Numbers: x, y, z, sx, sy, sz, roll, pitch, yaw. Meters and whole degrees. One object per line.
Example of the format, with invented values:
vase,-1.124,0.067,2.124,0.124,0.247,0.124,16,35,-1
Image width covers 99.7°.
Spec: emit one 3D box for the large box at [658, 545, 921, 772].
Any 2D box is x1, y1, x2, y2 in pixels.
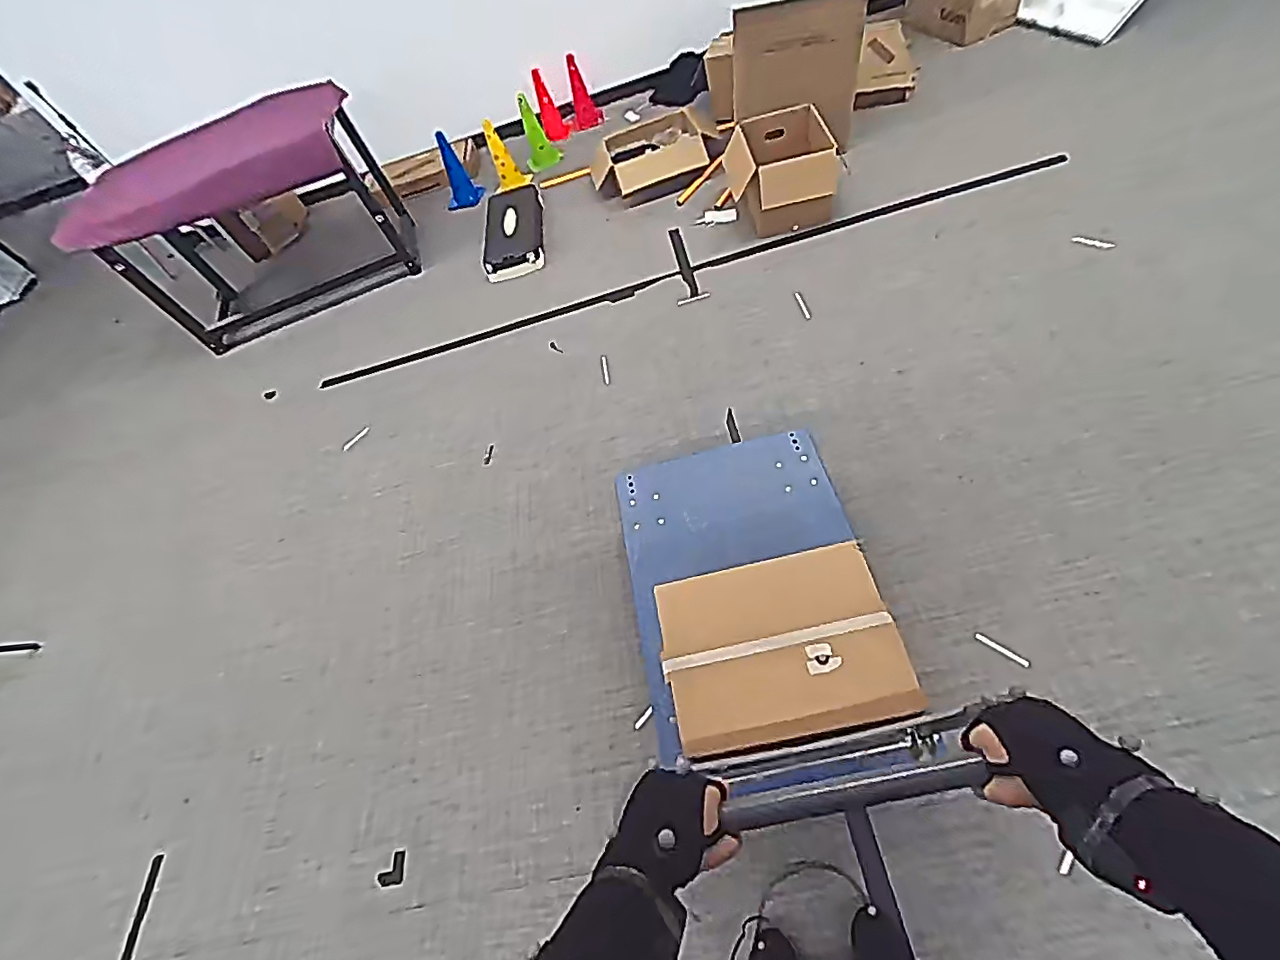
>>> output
large box,0.277,0.378,1.107,0.408,0.320,0.320,-14,57,4
